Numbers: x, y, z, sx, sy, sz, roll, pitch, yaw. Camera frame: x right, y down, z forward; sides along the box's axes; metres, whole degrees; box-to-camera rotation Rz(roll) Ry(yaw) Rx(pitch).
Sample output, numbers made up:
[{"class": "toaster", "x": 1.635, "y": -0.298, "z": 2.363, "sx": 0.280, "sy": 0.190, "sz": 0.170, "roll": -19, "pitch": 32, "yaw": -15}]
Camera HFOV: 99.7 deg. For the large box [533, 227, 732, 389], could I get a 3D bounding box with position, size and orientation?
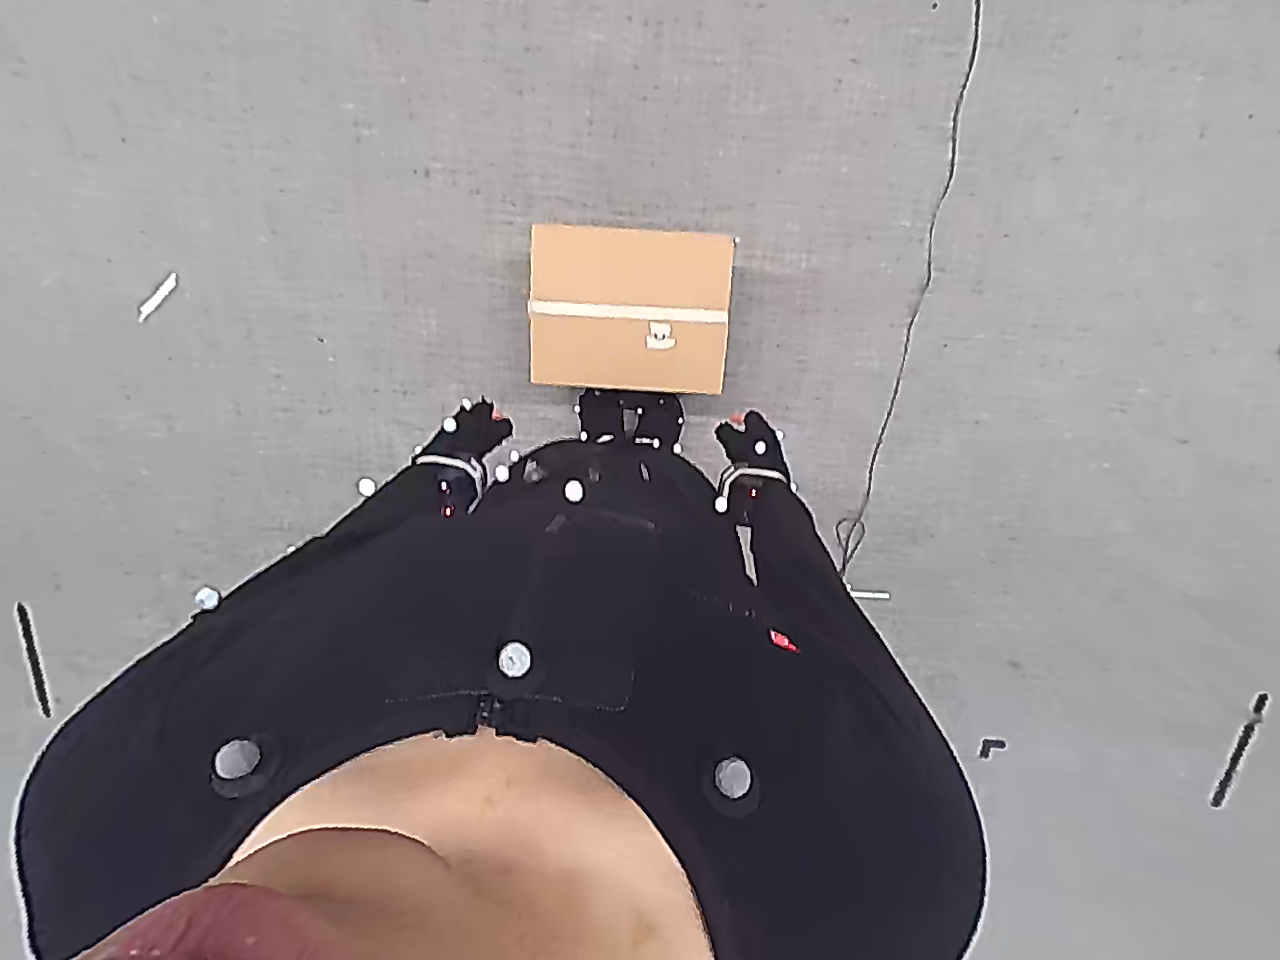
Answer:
[{"class": "large box", "x": -0.020, "y": -0.381, "z": 1.255, "sx": 0.408, "sy": 0.320, "sz": 0.320, "roll": 3, "pitch": 104, "yaw": 0}]
